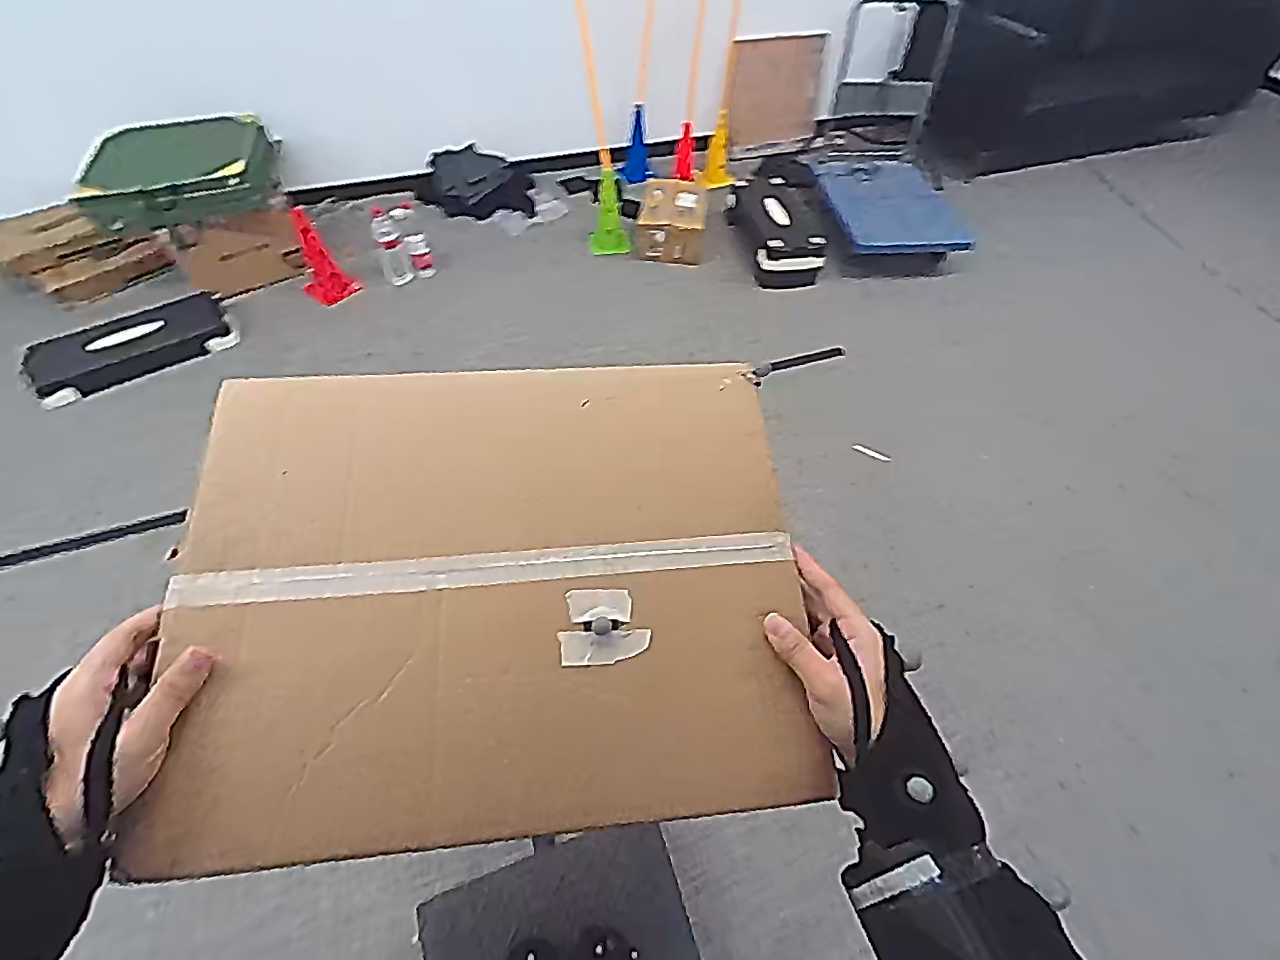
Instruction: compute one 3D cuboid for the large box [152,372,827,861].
[{"bbox_3d":[-0.103,0.118,0.514,0.408,0.320,0.320,-3,68,-6],"label":"large box"}]
